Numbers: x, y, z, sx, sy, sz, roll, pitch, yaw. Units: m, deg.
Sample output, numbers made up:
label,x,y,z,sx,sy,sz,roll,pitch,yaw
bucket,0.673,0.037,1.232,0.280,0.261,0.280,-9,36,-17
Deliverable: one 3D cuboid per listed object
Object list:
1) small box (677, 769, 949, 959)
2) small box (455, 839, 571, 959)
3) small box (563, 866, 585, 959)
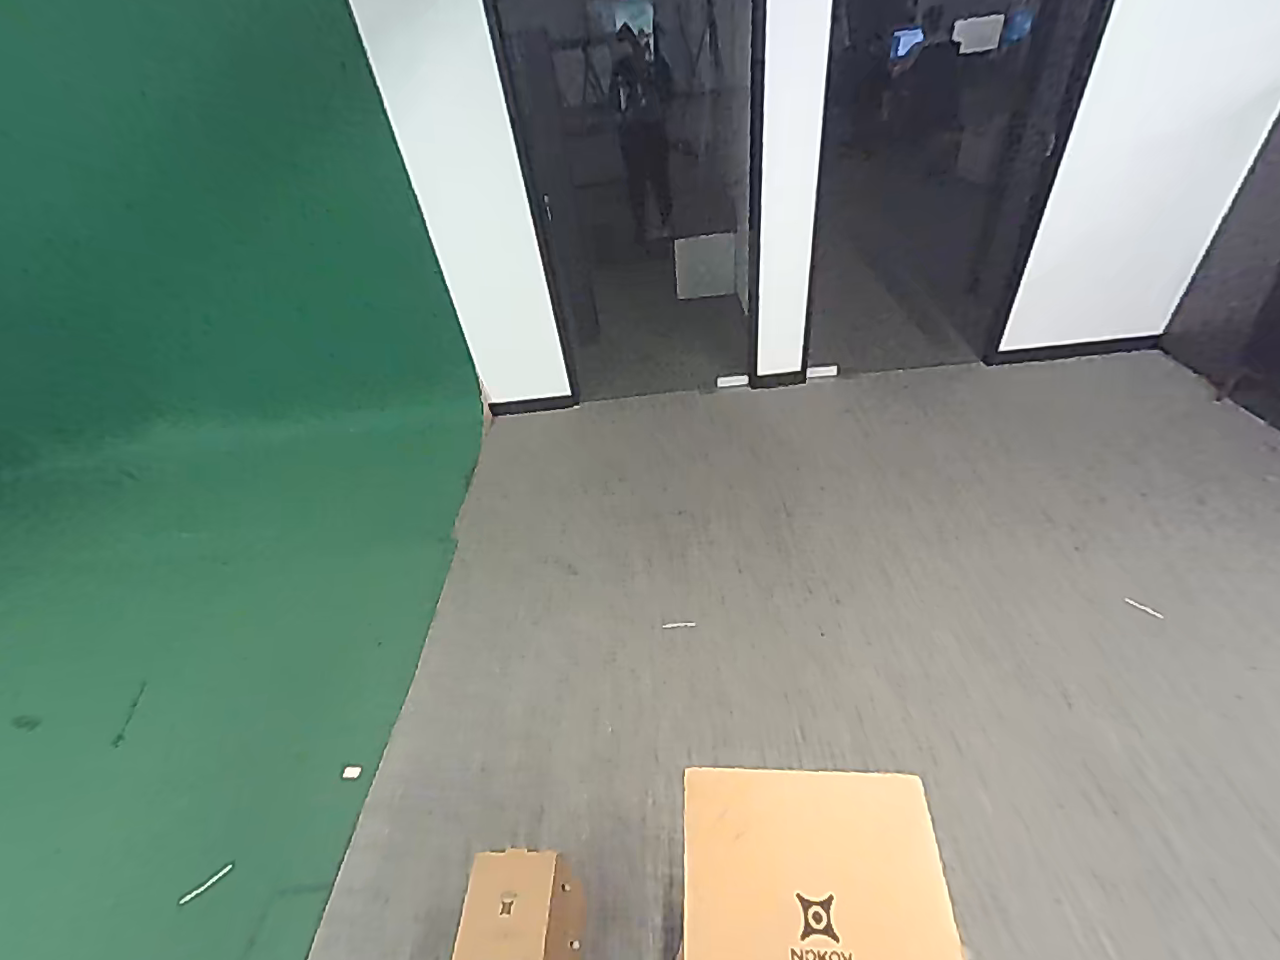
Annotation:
label,x,y,z,sx,sy,sz,roll,pitch,yaw
small box,0.111,0.331,0.401,0.168,0.176,0.179,-1,52,6
small box,-0.236,0.831,1.060,0.168,0.176,0.179,-5,42,6
small box,-0.221,0.952,1.167,0.168,0.176,0.179,-1,42,8
